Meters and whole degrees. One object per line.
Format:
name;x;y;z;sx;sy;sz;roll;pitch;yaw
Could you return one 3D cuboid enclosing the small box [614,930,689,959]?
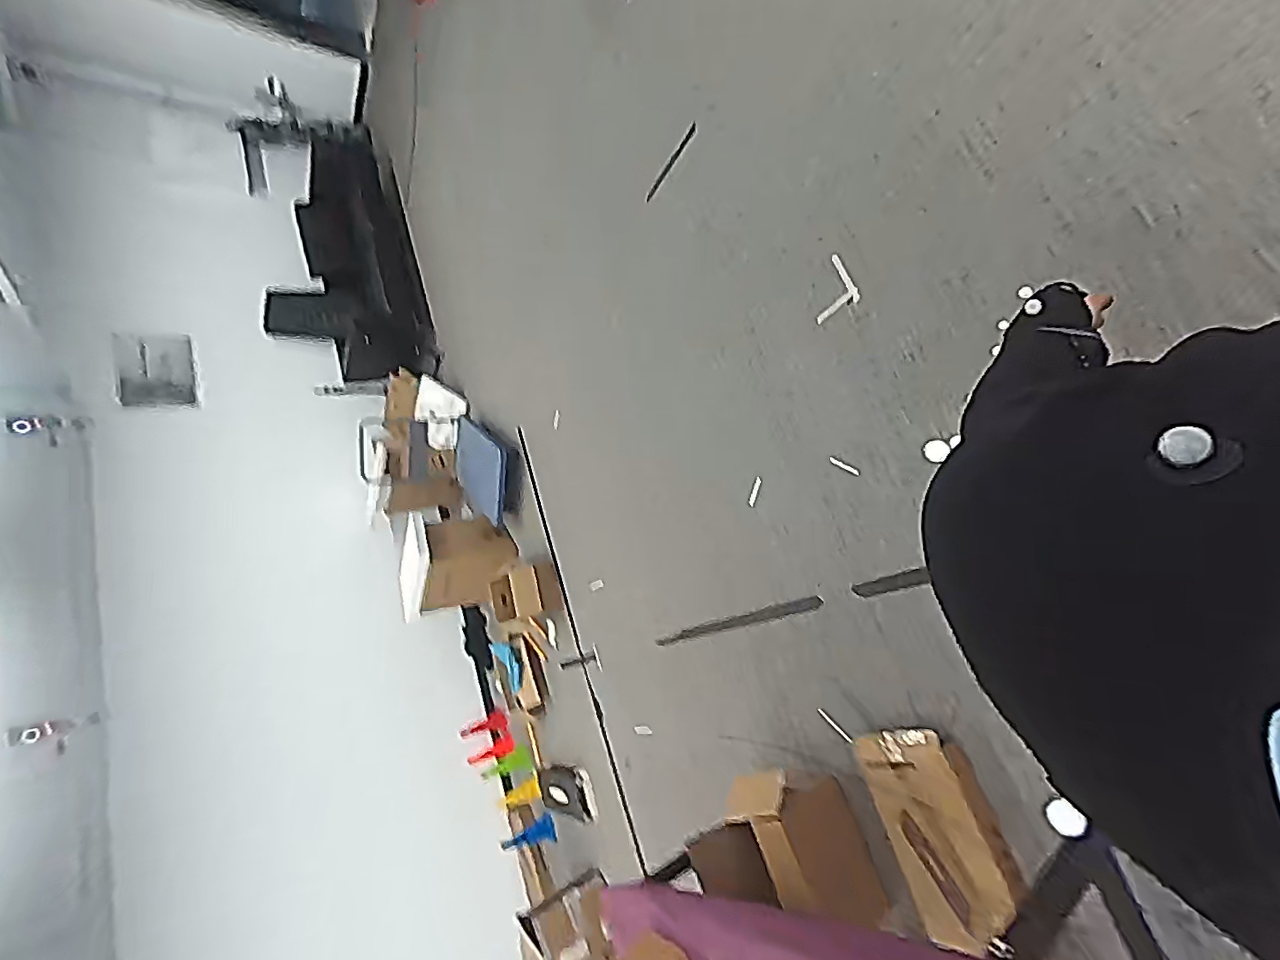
small box;0.039;1.365;1.449;0.179;0.176;0.168;-29;73;53
